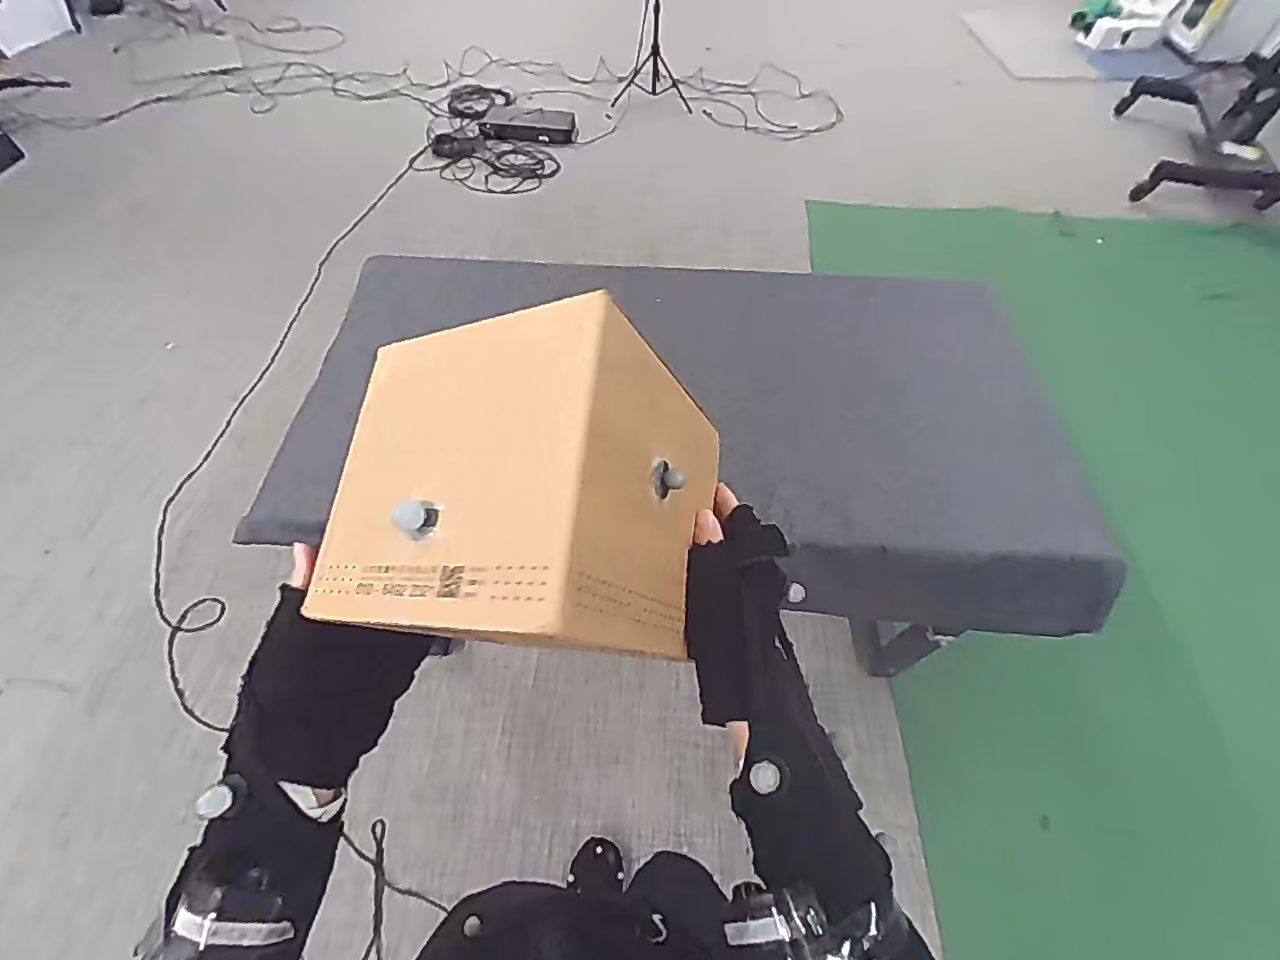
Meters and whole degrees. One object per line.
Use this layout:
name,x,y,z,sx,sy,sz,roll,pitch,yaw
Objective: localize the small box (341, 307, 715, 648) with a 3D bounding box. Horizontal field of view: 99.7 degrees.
small box,-0.058,0.019,0.362,0.168,0.179,0.176,-5,68,26
